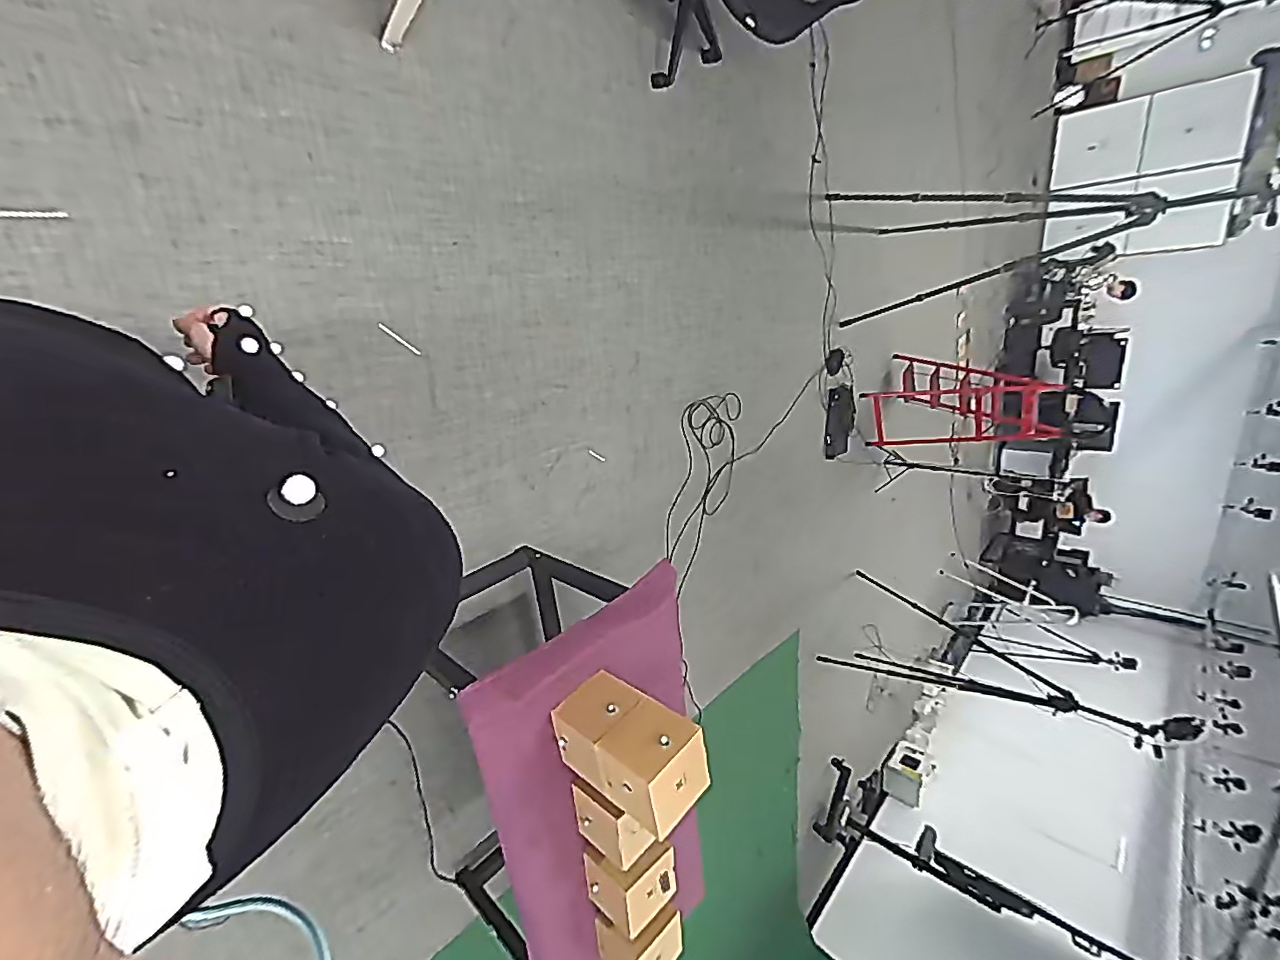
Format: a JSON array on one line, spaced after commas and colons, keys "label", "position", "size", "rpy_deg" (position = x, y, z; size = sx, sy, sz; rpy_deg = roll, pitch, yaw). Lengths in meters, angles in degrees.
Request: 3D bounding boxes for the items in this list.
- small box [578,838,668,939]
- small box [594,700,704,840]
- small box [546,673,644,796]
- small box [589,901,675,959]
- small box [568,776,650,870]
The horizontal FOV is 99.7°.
[{"label": "small box", "position": [-0.043, 1.055, 1.458], "size": [0.179, 0.176, 0.168], "rpy_deg": [-19, 112, -42]}, {"label": "small box", "position": [0.015, 0.625, 1.187], "size": [0.179, 0.176, 0.168], "rpy_deg": [-28, 117, -41]}, {"label": "small box", "position": [-0.098, 0.600, 1.300], "size": [0.179, 0.176, 0.168], "rpy_deg": [-28, 117, -39]}, {"label": "small box", "position": [-0.021, 1.287, 1.533], "size": [0.179, 0.176, 0.168], "rpy_deg": [-20, 112, -43]}, {"label": "small box", "position": [-0.060, 0.830, 1.390], "size": [0.179, 0.176, 0.168], "rpy_deg": [-21, 113, -42]}]
